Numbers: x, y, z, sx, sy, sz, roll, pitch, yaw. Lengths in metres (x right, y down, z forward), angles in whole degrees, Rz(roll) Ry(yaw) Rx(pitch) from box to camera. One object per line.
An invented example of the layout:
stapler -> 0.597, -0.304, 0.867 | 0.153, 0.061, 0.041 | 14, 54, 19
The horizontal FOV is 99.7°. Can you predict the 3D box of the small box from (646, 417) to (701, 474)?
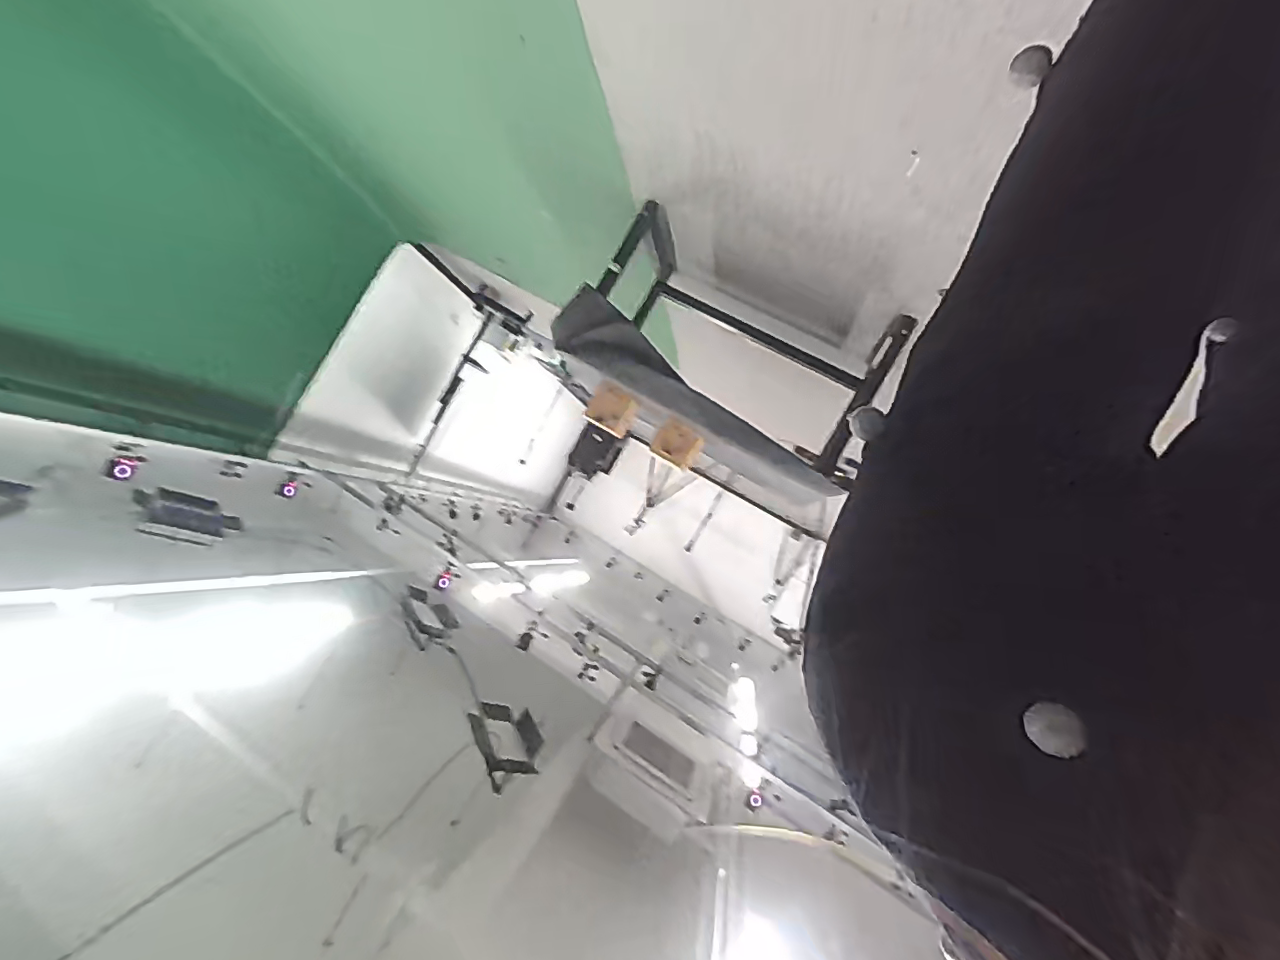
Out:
small box -> 0.150, -0.148, 2.308 | 0.168, 0.176, 0.179 | 31, 179, 12
